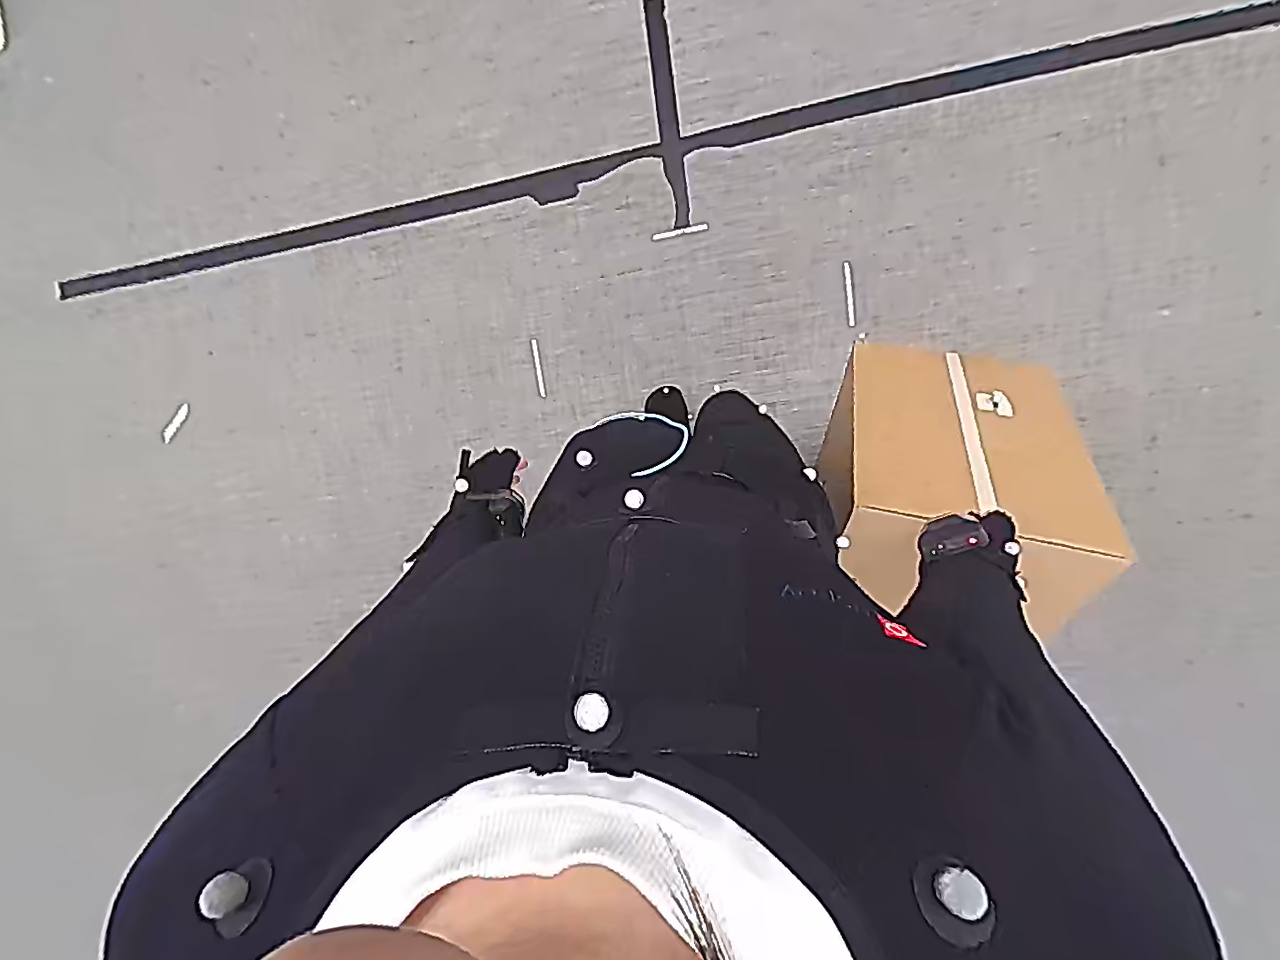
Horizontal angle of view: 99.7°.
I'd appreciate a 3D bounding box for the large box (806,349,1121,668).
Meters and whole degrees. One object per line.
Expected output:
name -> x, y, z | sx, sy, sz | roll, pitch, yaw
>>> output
large box -> 0.467, 0.035, 0.900 | 0.320, 0.408, 0.320 | 12, 135, 9
